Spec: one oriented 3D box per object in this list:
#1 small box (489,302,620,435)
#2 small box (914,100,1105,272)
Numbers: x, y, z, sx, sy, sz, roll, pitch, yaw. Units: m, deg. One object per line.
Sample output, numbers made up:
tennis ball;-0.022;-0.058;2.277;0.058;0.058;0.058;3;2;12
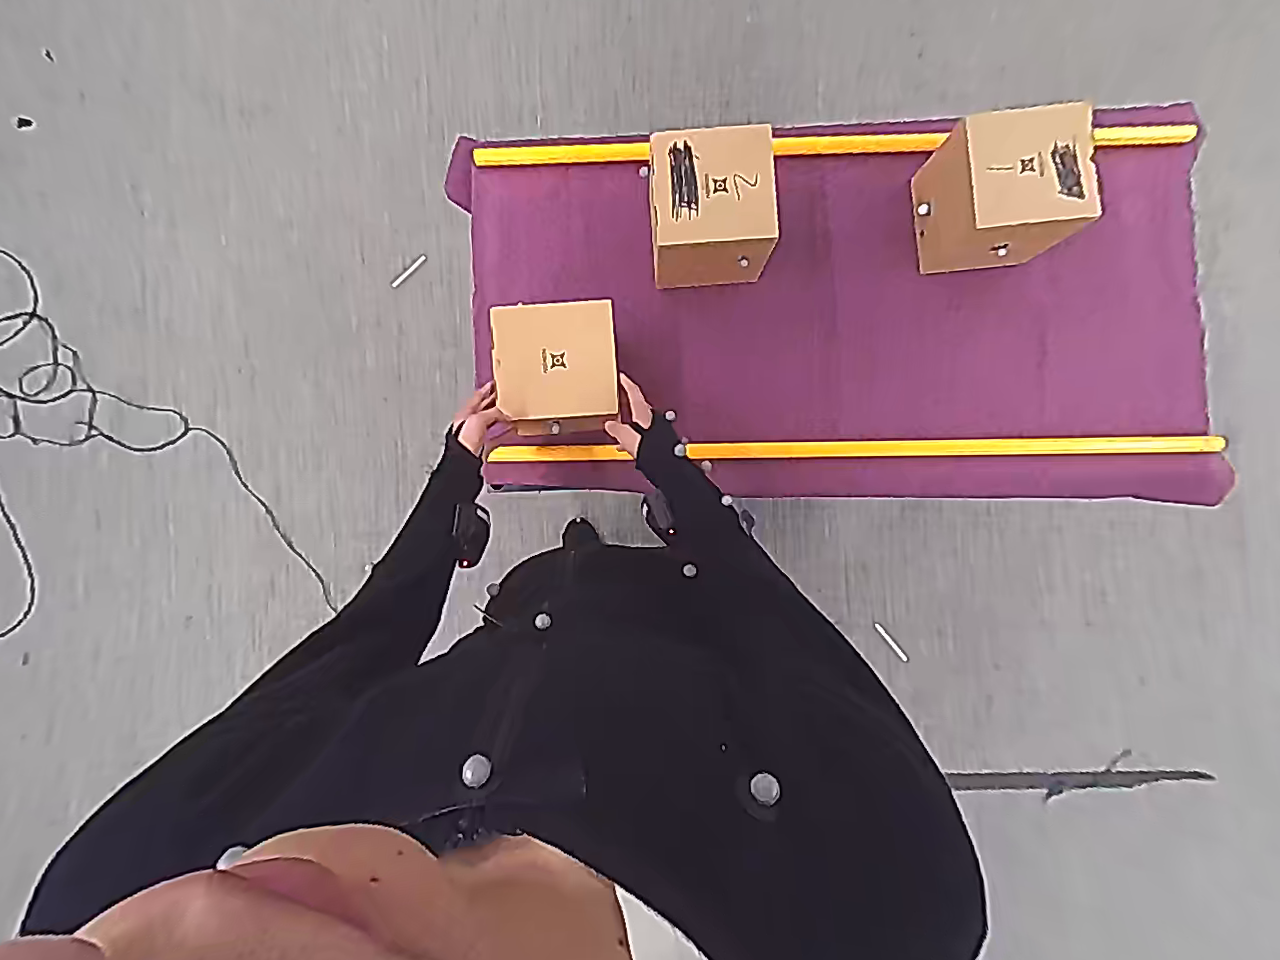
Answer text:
small box;-0.121;-0.163;0.837;0.179;0.176;0.168;-4;88;0
small box;0.549;-0.435;0.825;0.179;0.176;0.168;-5;89;3
